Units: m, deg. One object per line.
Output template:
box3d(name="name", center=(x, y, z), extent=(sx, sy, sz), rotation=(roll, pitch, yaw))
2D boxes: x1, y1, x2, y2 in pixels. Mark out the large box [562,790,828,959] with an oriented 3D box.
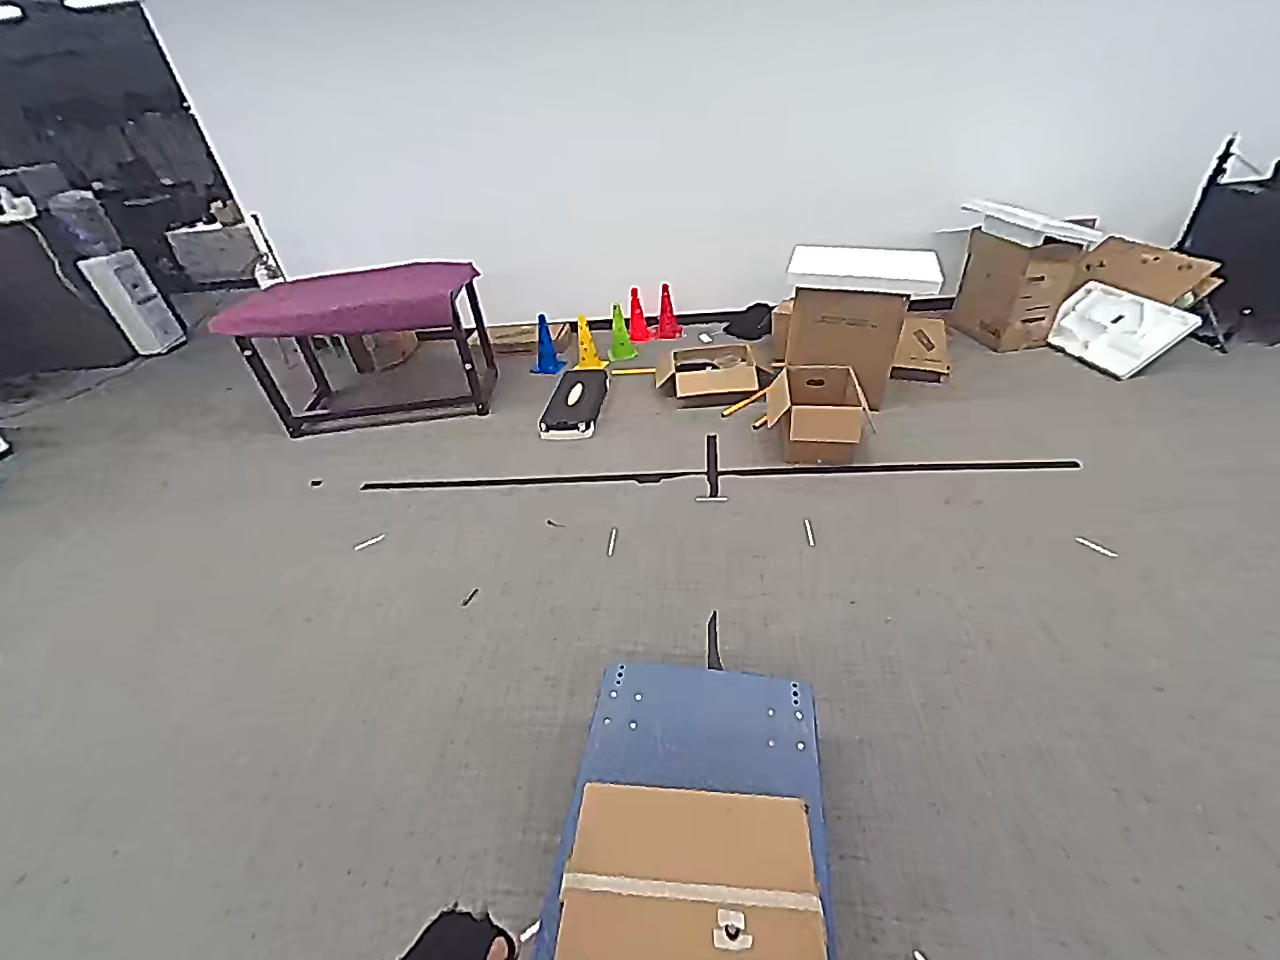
box3d(name="large box", center=(0.094, 0.792, 0.957), extent=(0.408, 0.320, 0.320), rotation=(1, 37, 7))
